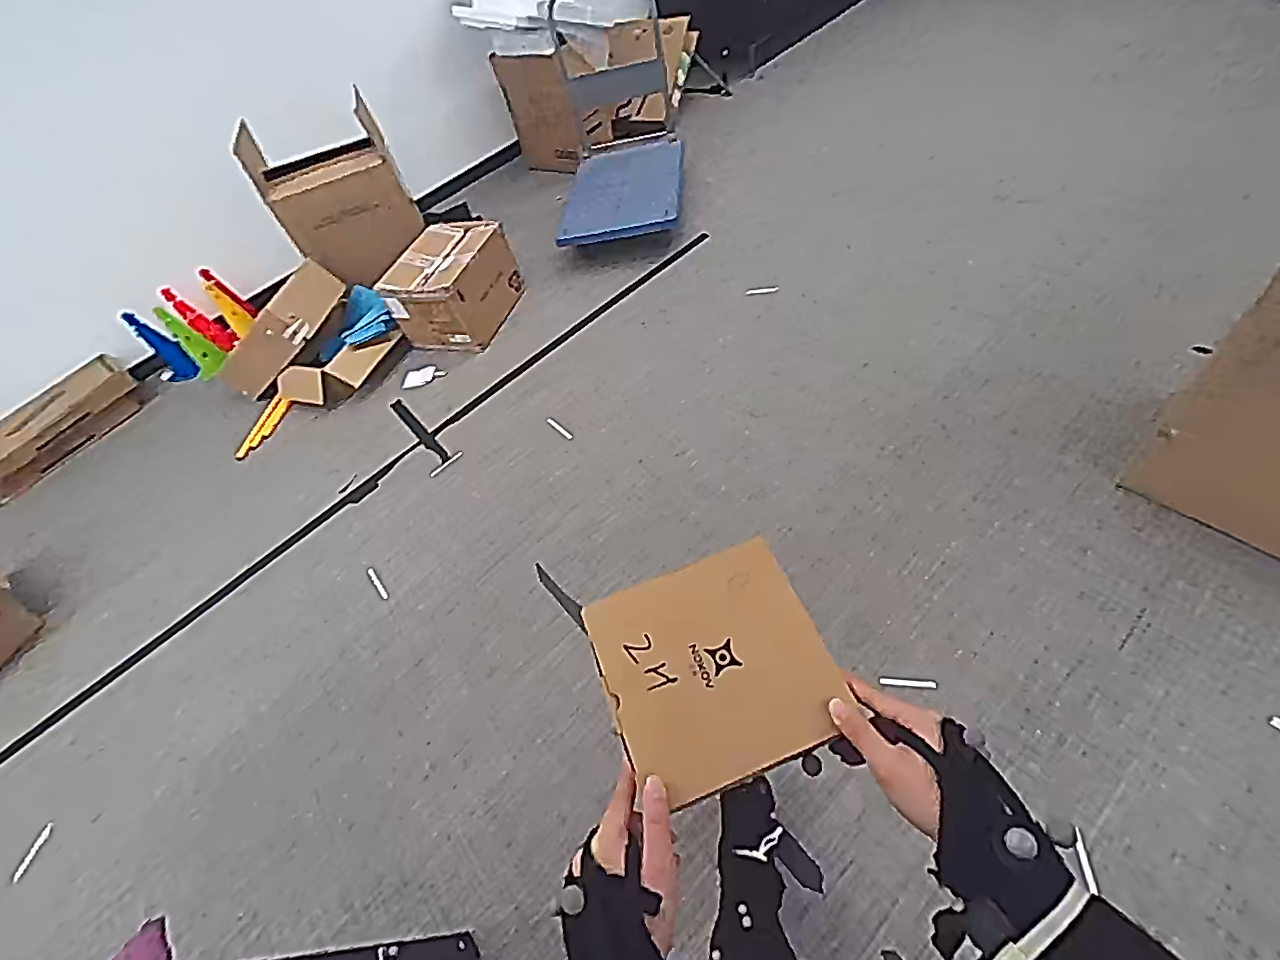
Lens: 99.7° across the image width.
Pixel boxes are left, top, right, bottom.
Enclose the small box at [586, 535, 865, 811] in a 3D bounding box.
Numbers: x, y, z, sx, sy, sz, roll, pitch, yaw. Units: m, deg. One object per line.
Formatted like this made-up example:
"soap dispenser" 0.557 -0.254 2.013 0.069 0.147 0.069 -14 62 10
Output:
"small box" 0.067 0.181 0.497 0.179 0.176 0.168 -21 58 -5
